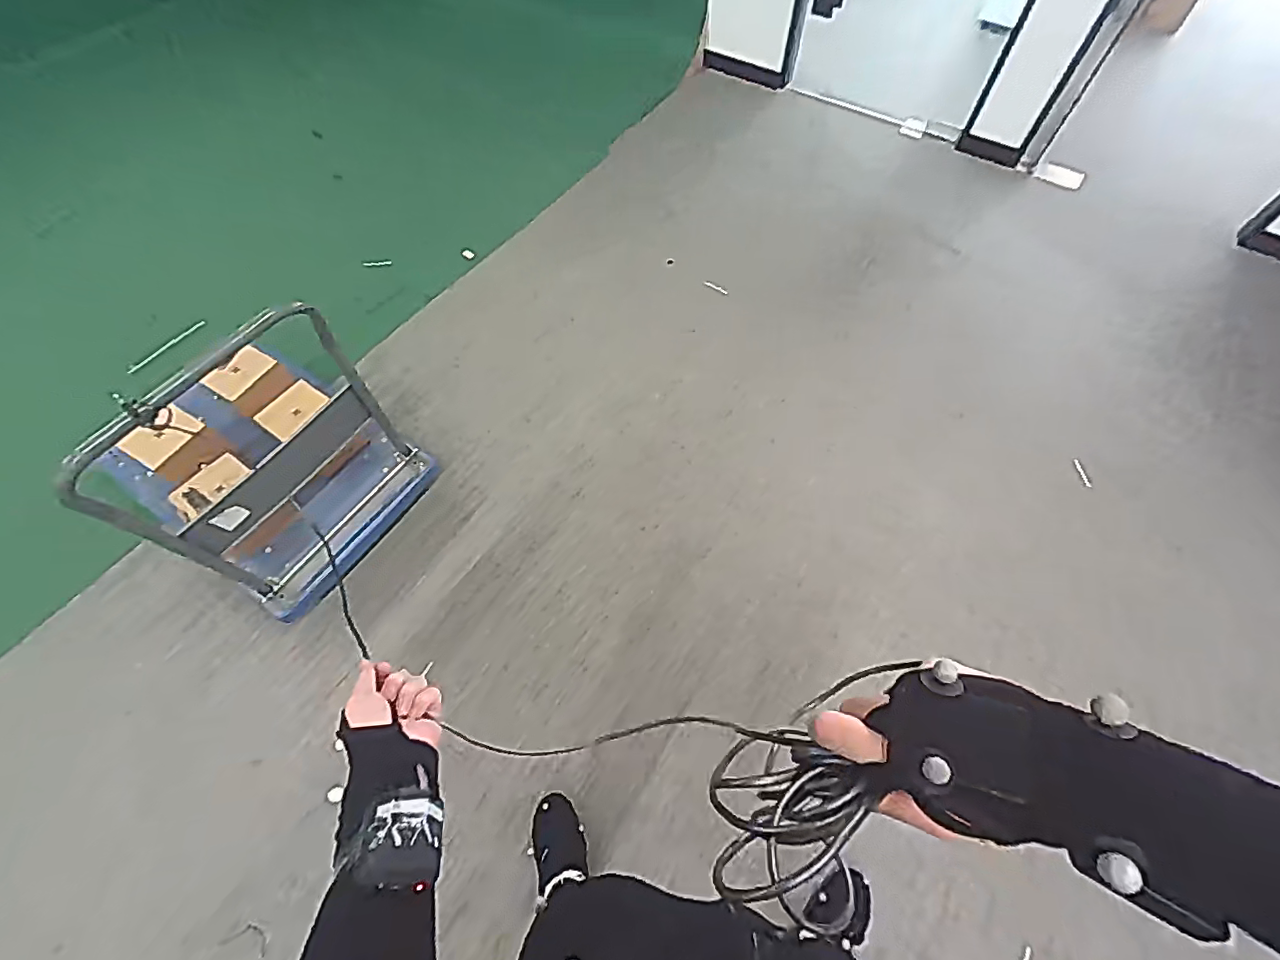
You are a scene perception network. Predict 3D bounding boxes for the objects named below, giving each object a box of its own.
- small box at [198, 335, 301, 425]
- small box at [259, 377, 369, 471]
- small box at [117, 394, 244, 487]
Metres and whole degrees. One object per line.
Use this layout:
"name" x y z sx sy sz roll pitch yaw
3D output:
"small box" -1.143 -0.293 1.615 0.179 0.176 0.168 29 66 13
"small box" -0.922 -0.155 1.544 0.179 0.176 0.168 33 67 15
"small box" -1.272 -0.102 1.514 0.179 0.176 0.168 28 65 14
